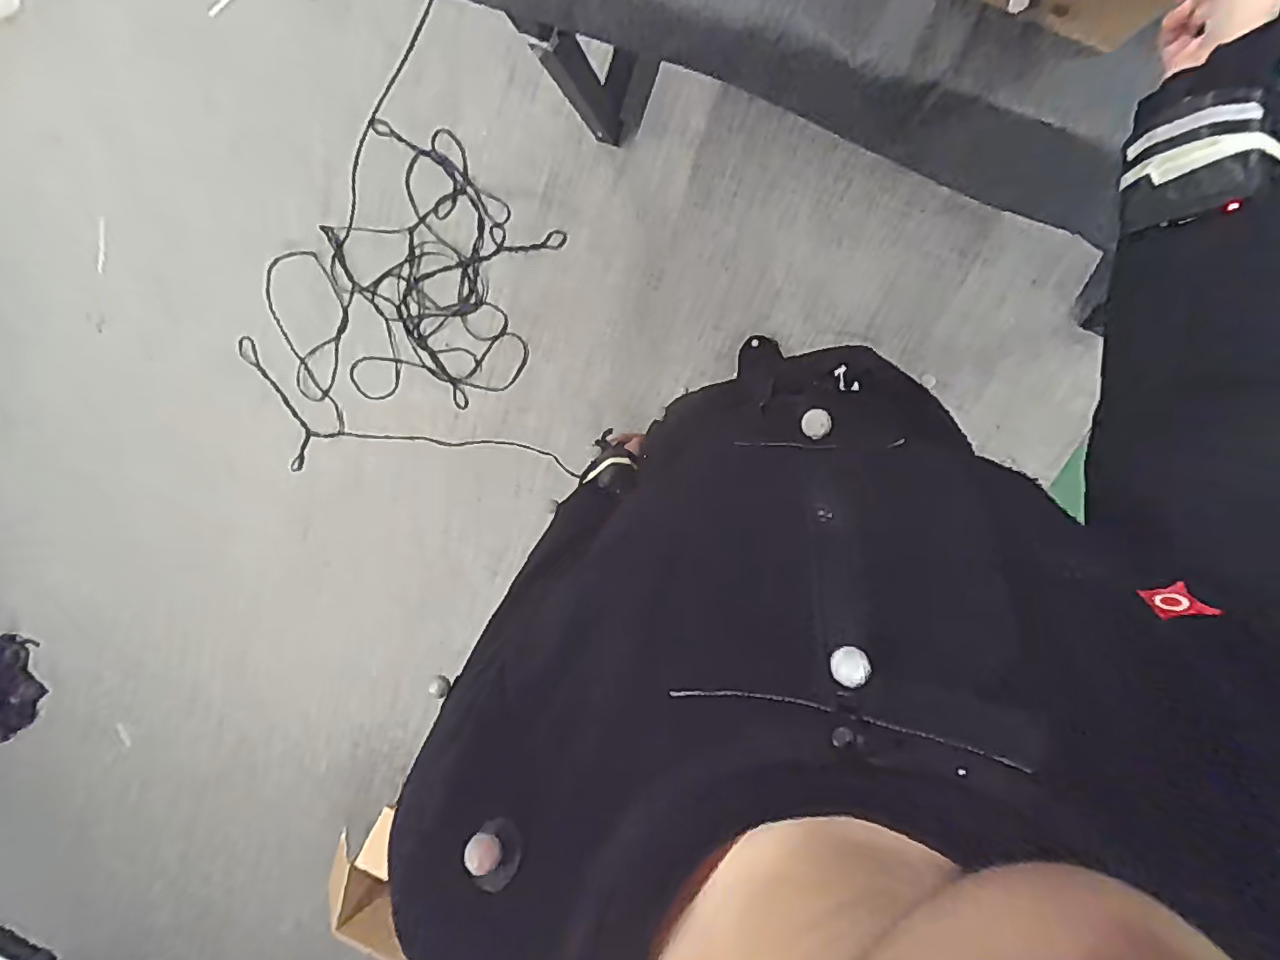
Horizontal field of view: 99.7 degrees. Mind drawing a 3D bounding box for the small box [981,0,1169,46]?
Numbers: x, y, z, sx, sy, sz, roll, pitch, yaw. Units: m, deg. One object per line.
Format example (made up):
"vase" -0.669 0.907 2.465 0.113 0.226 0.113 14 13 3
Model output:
"small box" 0.345 -0.454 0.362 0.168 0.176 0.179 26 107 4
